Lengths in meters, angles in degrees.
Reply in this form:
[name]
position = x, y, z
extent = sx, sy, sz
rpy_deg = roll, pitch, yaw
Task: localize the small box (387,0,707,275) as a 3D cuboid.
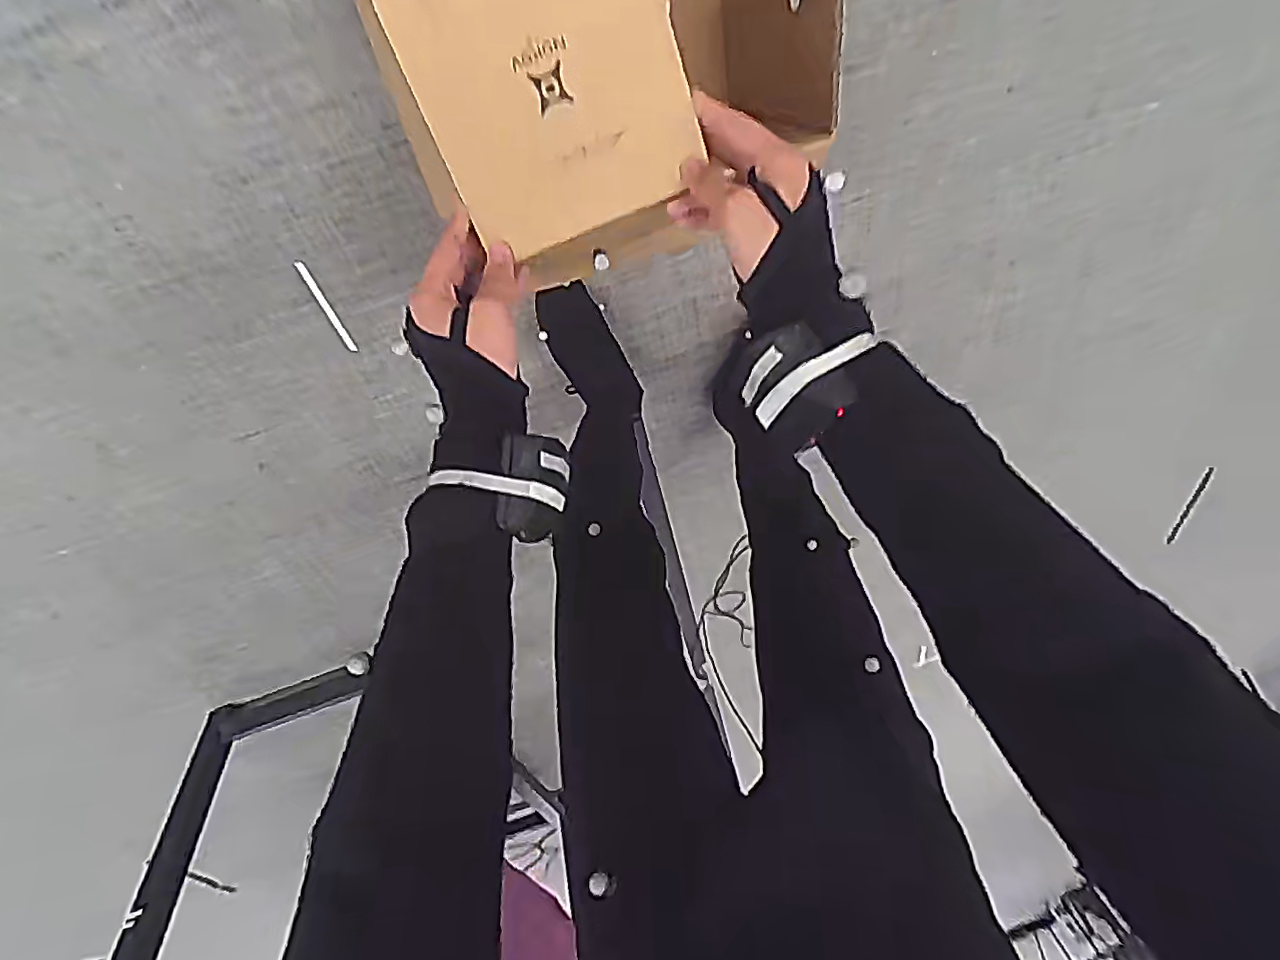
[small box]
position = -0.056, -0.280, 0.432
extent = 0.168, 0.176, 0.179
rpy_deg = -19, 106, 9
